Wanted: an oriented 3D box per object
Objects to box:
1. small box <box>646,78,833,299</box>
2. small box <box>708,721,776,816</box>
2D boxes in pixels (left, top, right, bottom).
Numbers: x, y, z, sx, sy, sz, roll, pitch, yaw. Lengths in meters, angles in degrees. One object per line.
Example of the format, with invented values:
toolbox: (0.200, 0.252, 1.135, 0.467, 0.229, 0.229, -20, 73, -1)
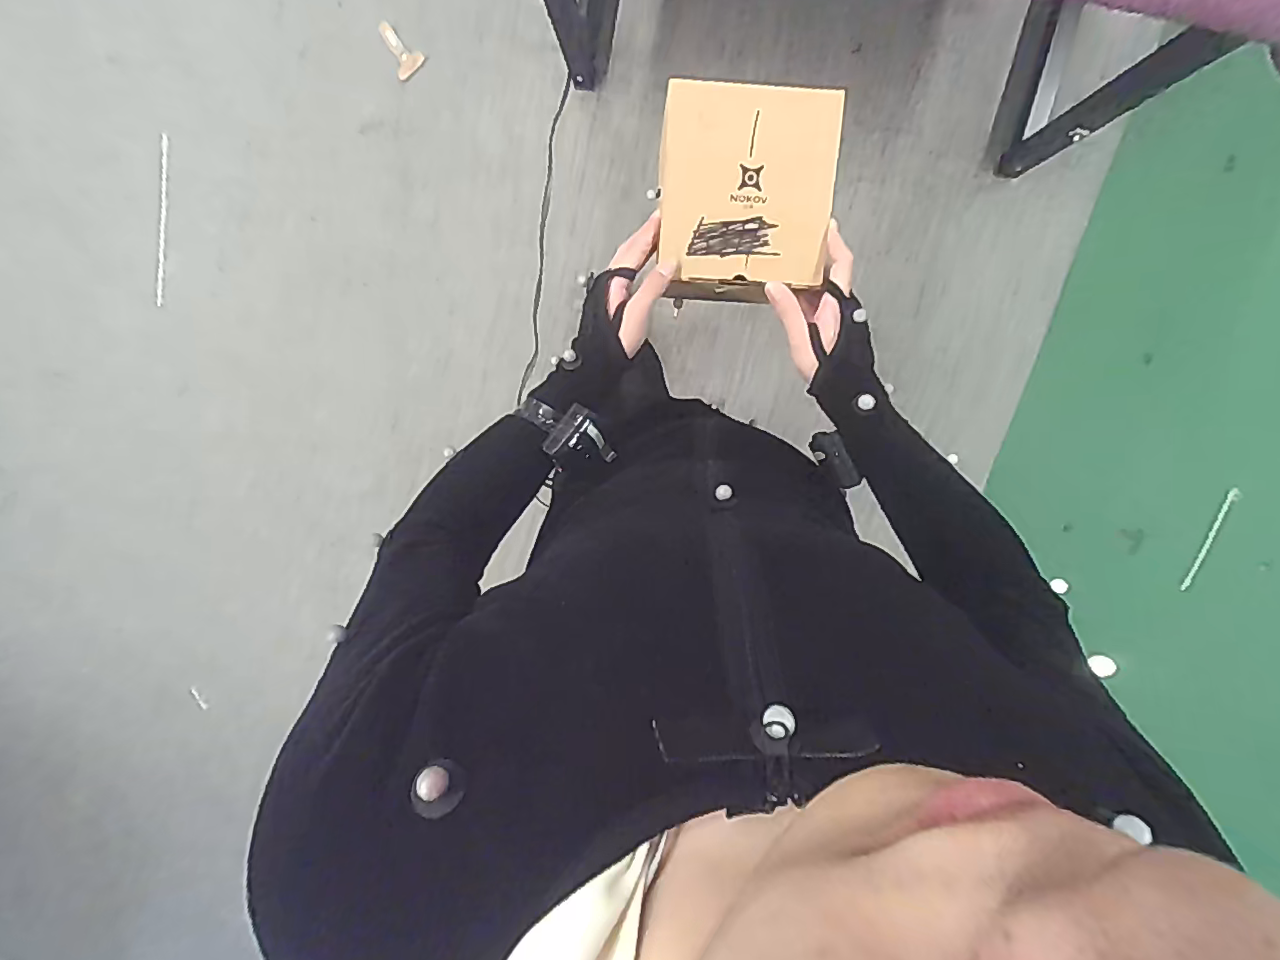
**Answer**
small box: (0.095, -0.301, 0.597, 0.168, 0.176, 0.179, 3, 102, -1)
small box: (0.314, 0.901, 1.699, 0.168, 0.176, 0.179, 15, 103, 1)
